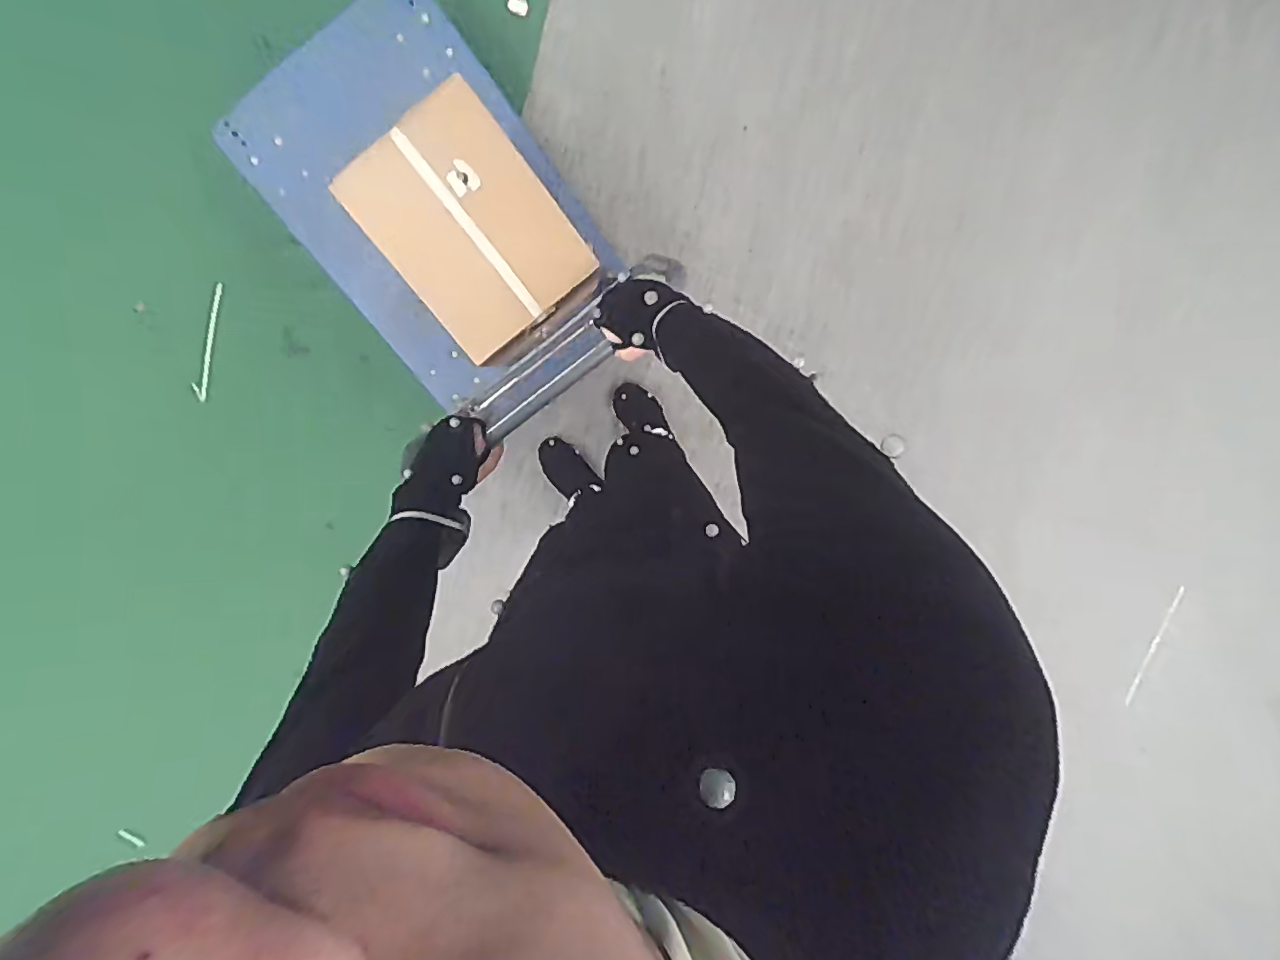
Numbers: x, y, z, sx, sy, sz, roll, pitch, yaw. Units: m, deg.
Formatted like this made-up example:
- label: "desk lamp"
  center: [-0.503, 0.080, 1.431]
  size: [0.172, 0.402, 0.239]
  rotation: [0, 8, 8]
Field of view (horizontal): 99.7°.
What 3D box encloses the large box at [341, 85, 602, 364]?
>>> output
- label: "large box"
  center: [-0.321, -0.504, 1.169]
  size: [0.320, 0.320, 0.408]
  rotation: [-38, 102, 3]
